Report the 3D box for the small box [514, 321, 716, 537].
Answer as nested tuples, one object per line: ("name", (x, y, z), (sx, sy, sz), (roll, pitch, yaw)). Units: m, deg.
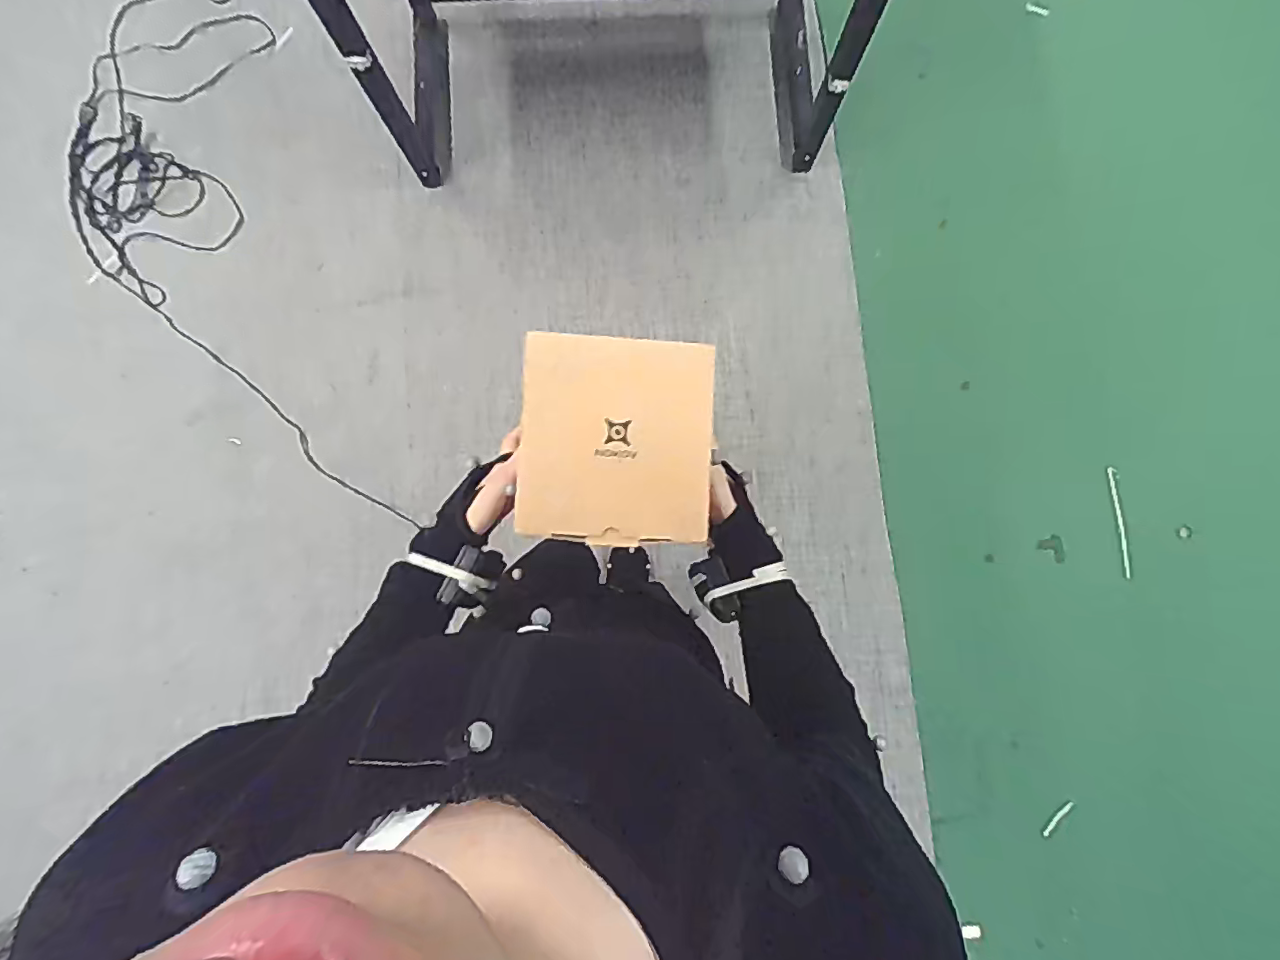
("small box", (-0.027, -0.038, 0.528), (0.168, 0.176, 0.179), (2, 87, -5))
